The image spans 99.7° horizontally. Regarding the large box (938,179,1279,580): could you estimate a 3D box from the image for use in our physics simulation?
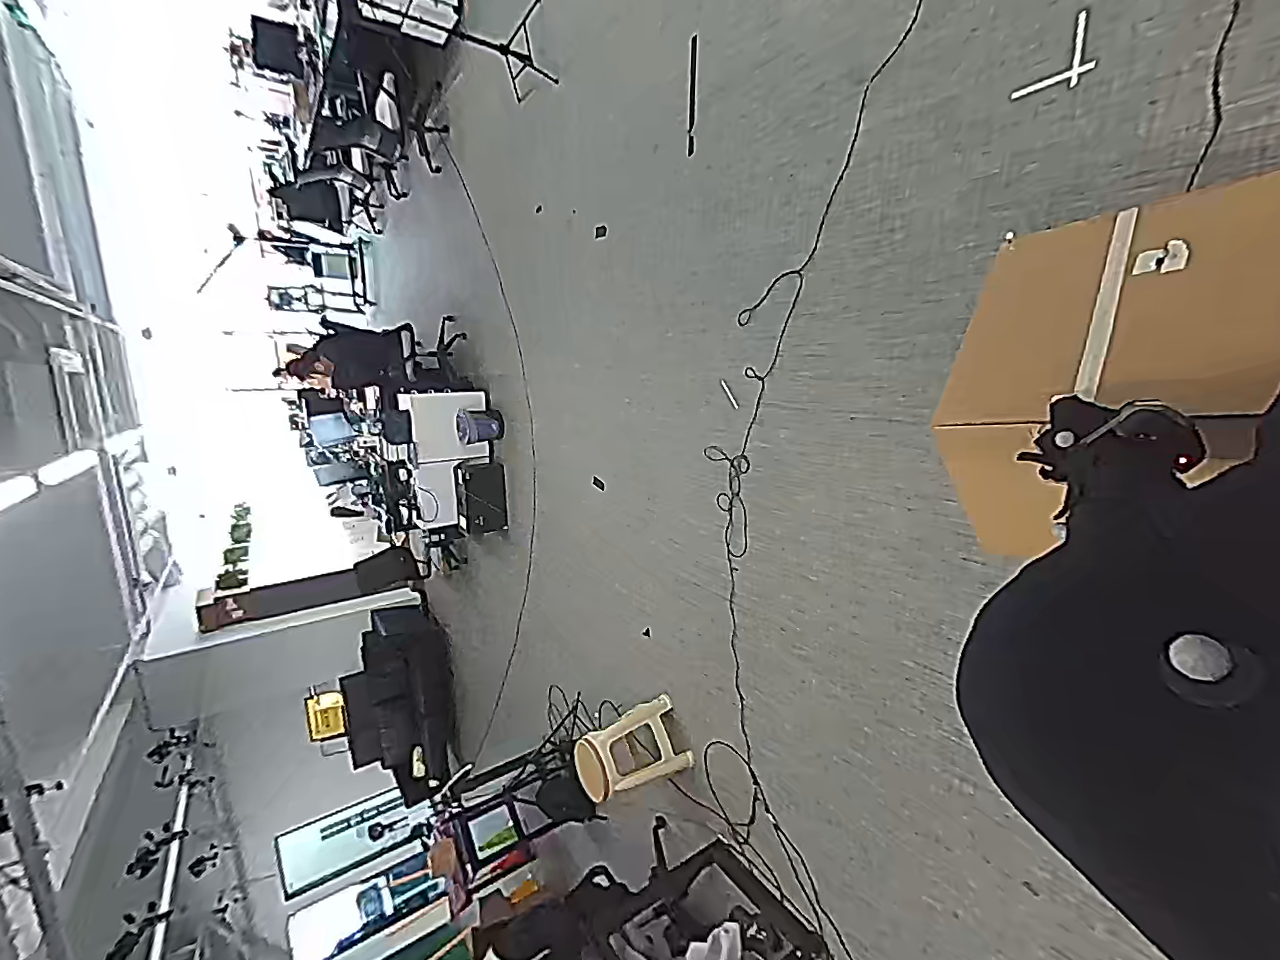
[{"bbox_3d":[0.682,-0.124,0.765,0.320,0.408,0.320,5,144,50],"label":"large box"}]
